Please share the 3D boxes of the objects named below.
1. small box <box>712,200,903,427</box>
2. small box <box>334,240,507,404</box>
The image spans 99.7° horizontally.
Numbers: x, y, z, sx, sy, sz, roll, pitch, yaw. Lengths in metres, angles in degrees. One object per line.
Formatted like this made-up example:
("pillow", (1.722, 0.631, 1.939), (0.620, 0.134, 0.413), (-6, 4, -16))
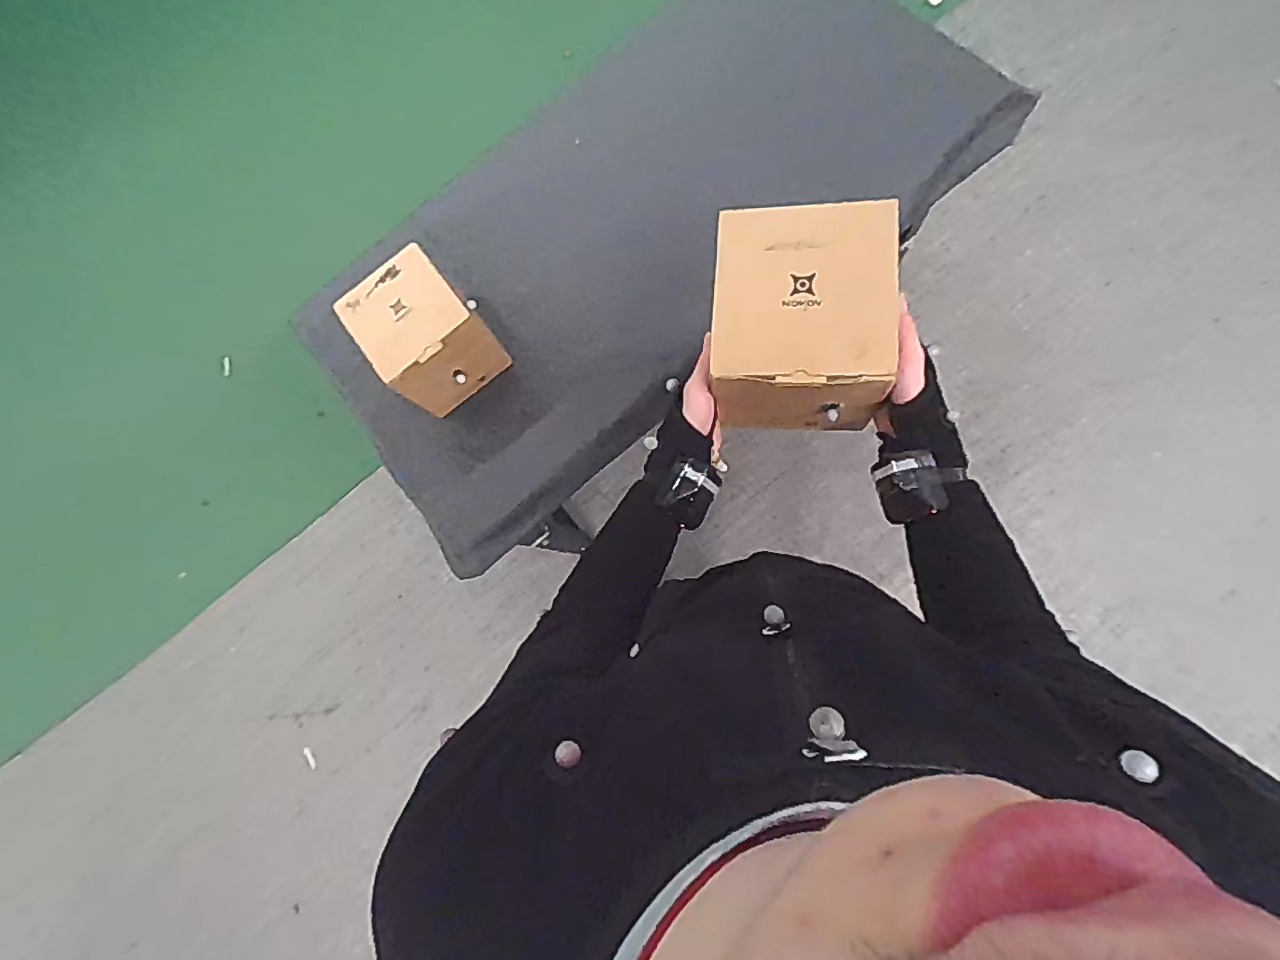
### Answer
("small box", (0.169, -0.162, 0.574), (0.168, 0.176, 0.179), (3, 79, 11))
("small box", (-0.351, -0.245, 0.898), (0.168, 0.176, 0.179), (-38, 77, -1))
